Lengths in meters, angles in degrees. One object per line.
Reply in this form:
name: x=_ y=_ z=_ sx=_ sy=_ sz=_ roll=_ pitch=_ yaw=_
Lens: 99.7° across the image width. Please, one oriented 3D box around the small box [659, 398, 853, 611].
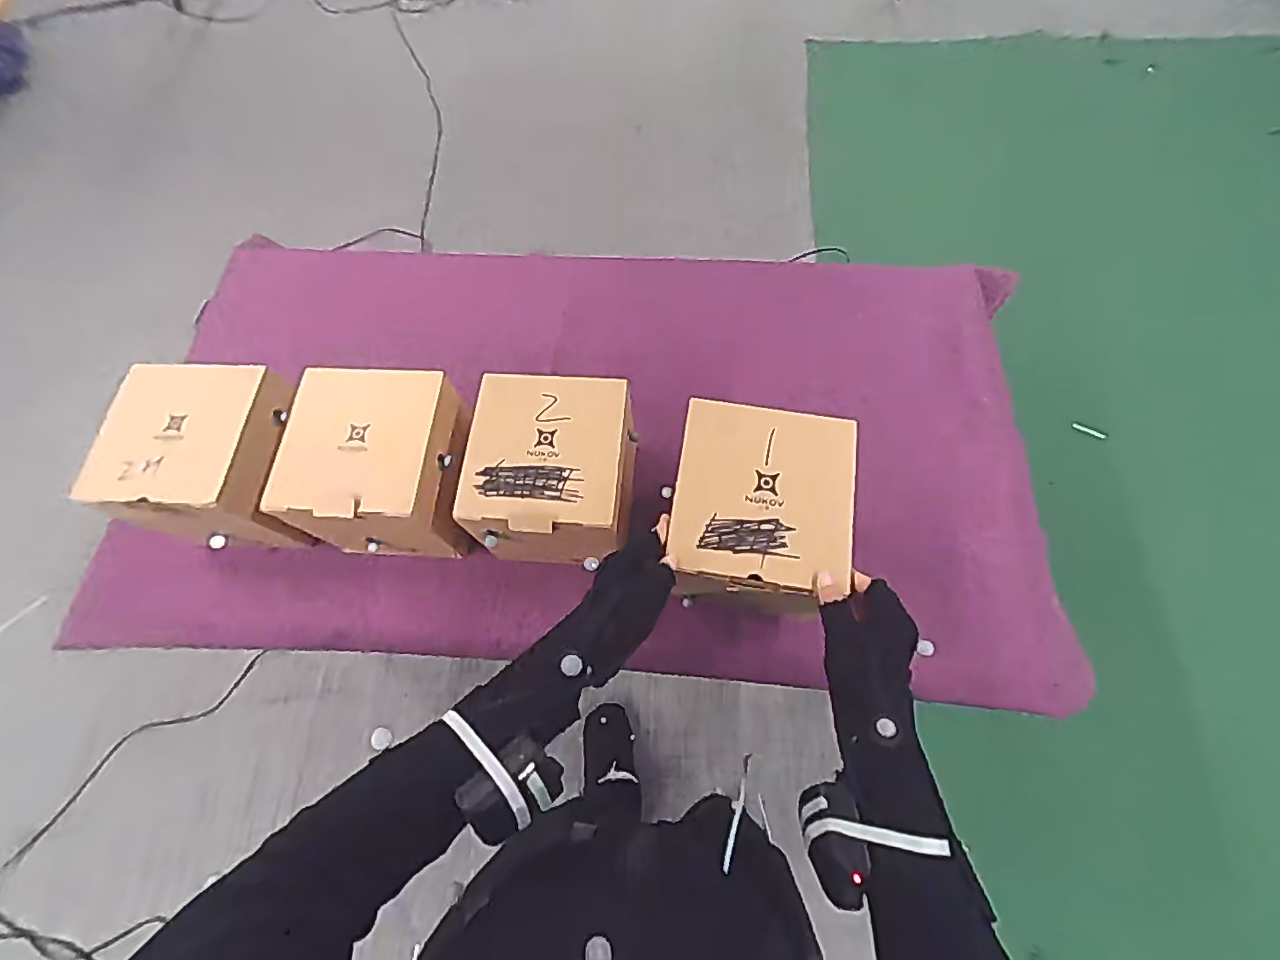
small box: x=0.117 y=0.037 z=0.586 sx=0.168 sy=0.176 sz=0.179 roll=9 pitch=70 yaw=5
